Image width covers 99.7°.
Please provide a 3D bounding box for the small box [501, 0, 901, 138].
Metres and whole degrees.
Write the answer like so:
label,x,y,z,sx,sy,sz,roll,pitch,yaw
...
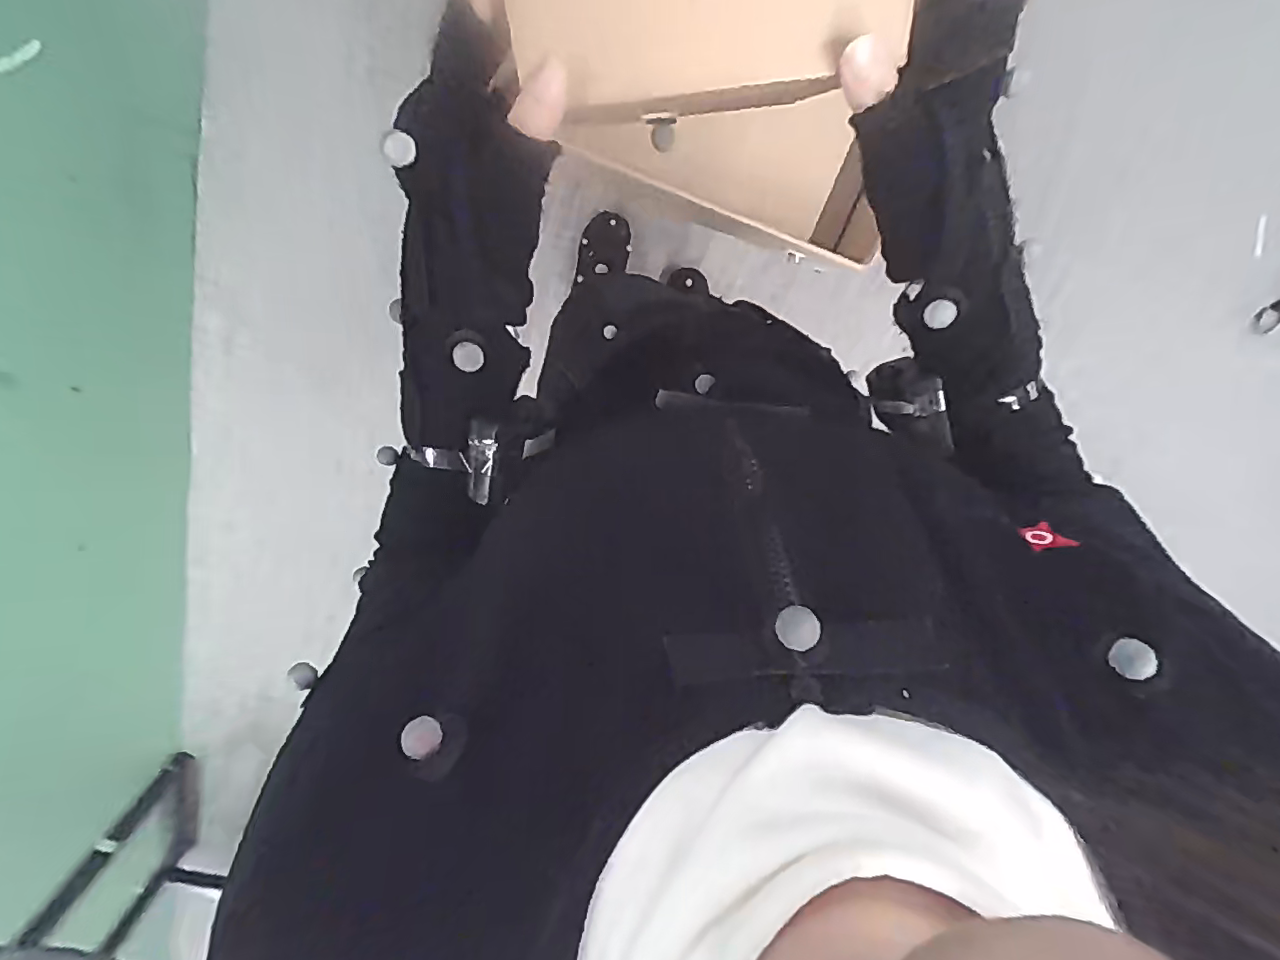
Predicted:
label,x,y,z,sx,sy,sz,roll,pitch,yaw
small box,0.015,-0.281,0.261,0.168,0.176,0.179,-7,120,1
